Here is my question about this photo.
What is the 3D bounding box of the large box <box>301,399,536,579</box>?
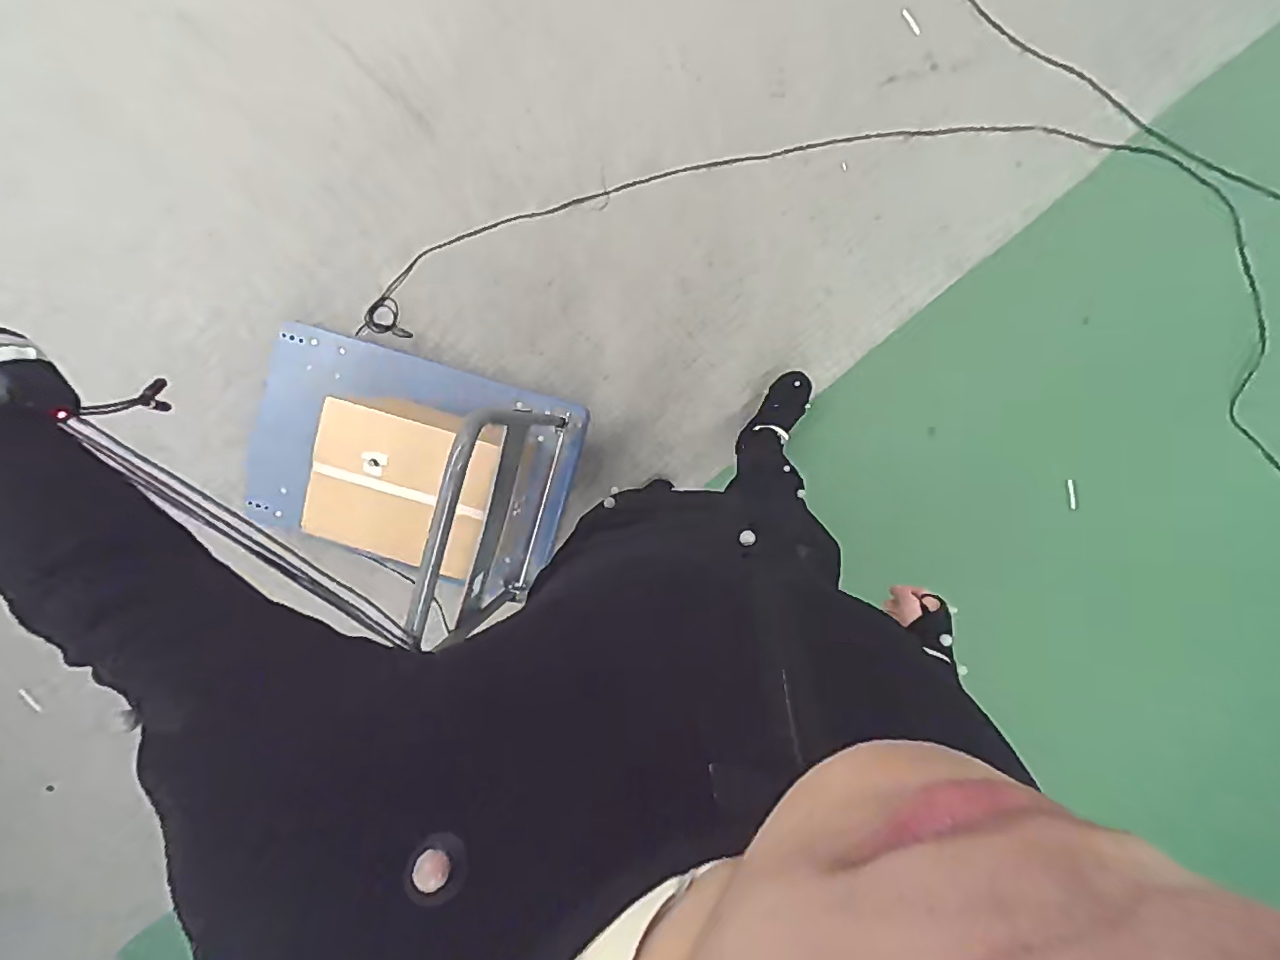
[{"bbox_3d":[-0.510,0.003,1.313,0.408,0.320,0.320,16,98,2],"label":"large box"}]
